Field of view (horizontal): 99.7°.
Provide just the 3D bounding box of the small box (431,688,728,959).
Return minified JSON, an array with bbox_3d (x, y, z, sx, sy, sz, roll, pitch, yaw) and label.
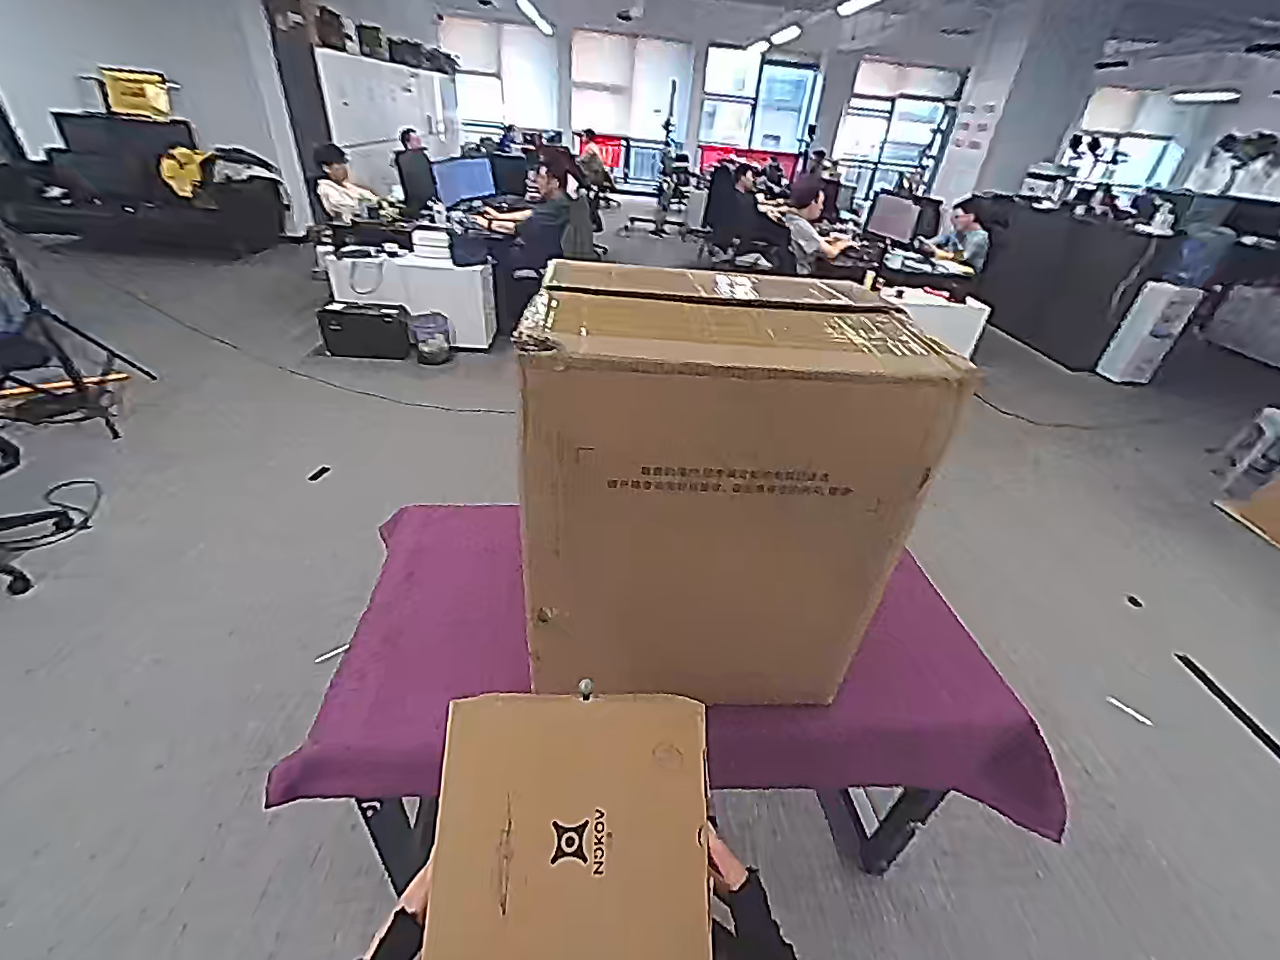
[{"bbox_3d":[-0.043,0.248,0.412,0.179,0.176,0.168,2,68,-6],"label":"small box"}]
